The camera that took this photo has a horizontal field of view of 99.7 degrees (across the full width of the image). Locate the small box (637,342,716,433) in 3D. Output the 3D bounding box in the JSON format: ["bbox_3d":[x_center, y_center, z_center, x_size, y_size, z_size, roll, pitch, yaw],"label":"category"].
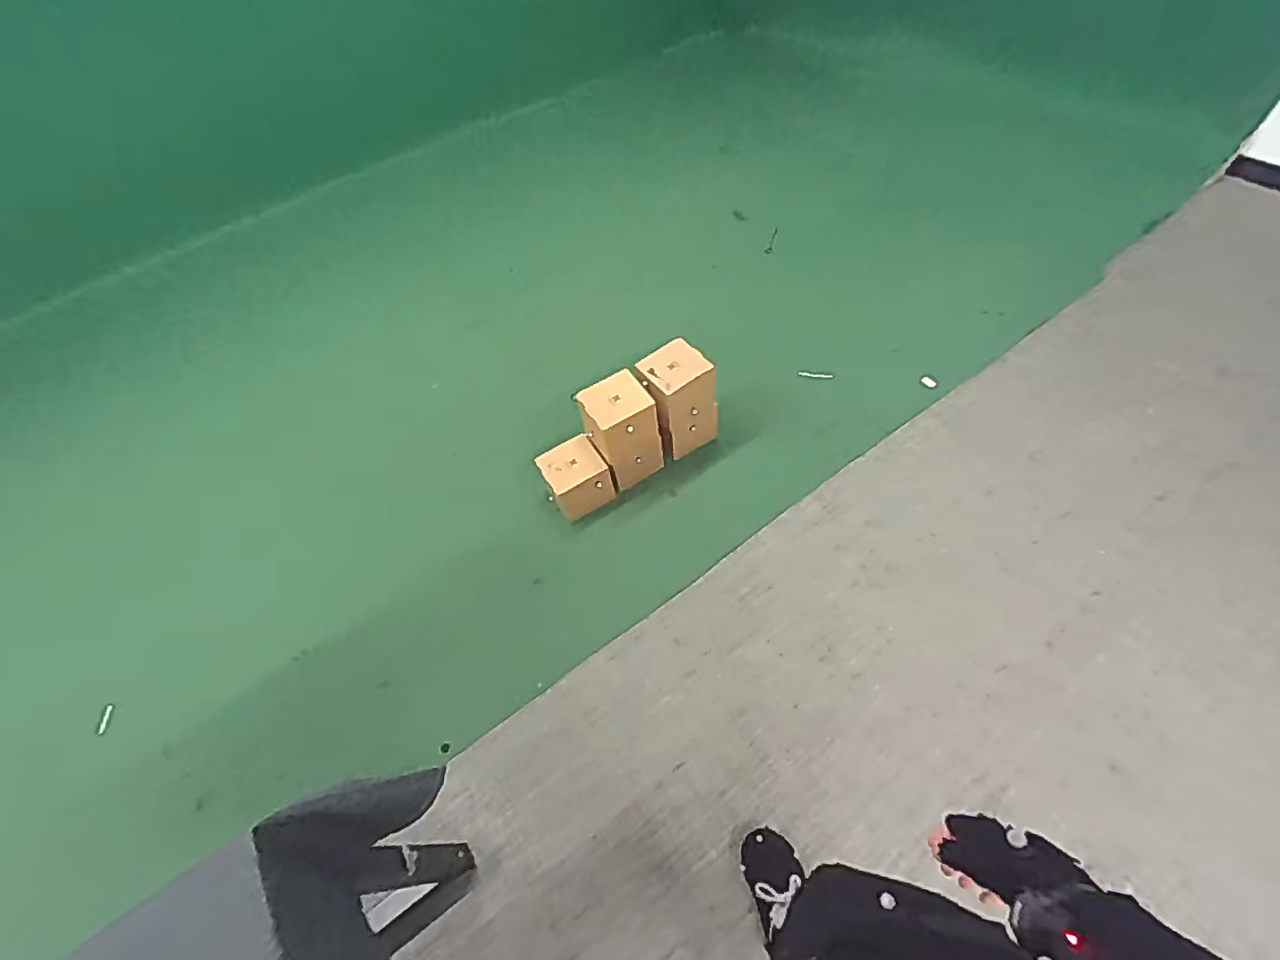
[{"bbox_3d":[0.110,-0.280,1.645,0.179,0.176,0.168,-32,58,-15],"label":"small box"}]

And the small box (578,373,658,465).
[{"bbox_3d":[-0.058,-0.178,1.602,0.179,0.176,0.168,-29,59,-11],"label":"small box"}]
